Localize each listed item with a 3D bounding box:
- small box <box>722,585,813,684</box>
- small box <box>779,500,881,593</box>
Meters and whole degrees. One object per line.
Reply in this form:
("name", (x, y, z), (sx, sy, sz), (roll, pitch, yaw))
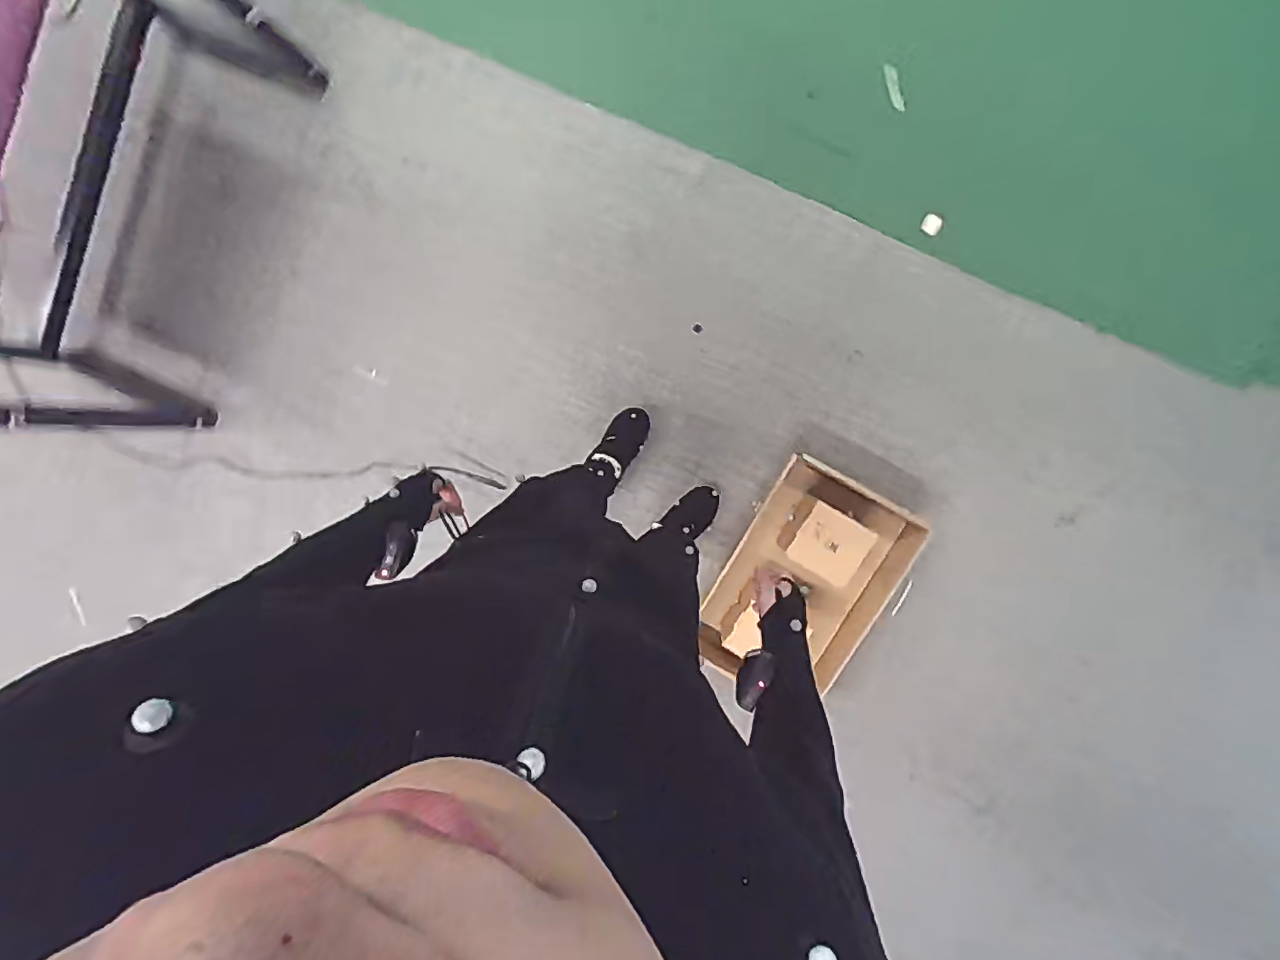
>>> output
("small box", (0.341, 0.411, 1.474), (0.179, 0.176, 0.168), (32, 98, 4))
("small box", (0.493, 0.166, 1.431), (0.179, 0.176, 0.168), (31, 98, 3))
